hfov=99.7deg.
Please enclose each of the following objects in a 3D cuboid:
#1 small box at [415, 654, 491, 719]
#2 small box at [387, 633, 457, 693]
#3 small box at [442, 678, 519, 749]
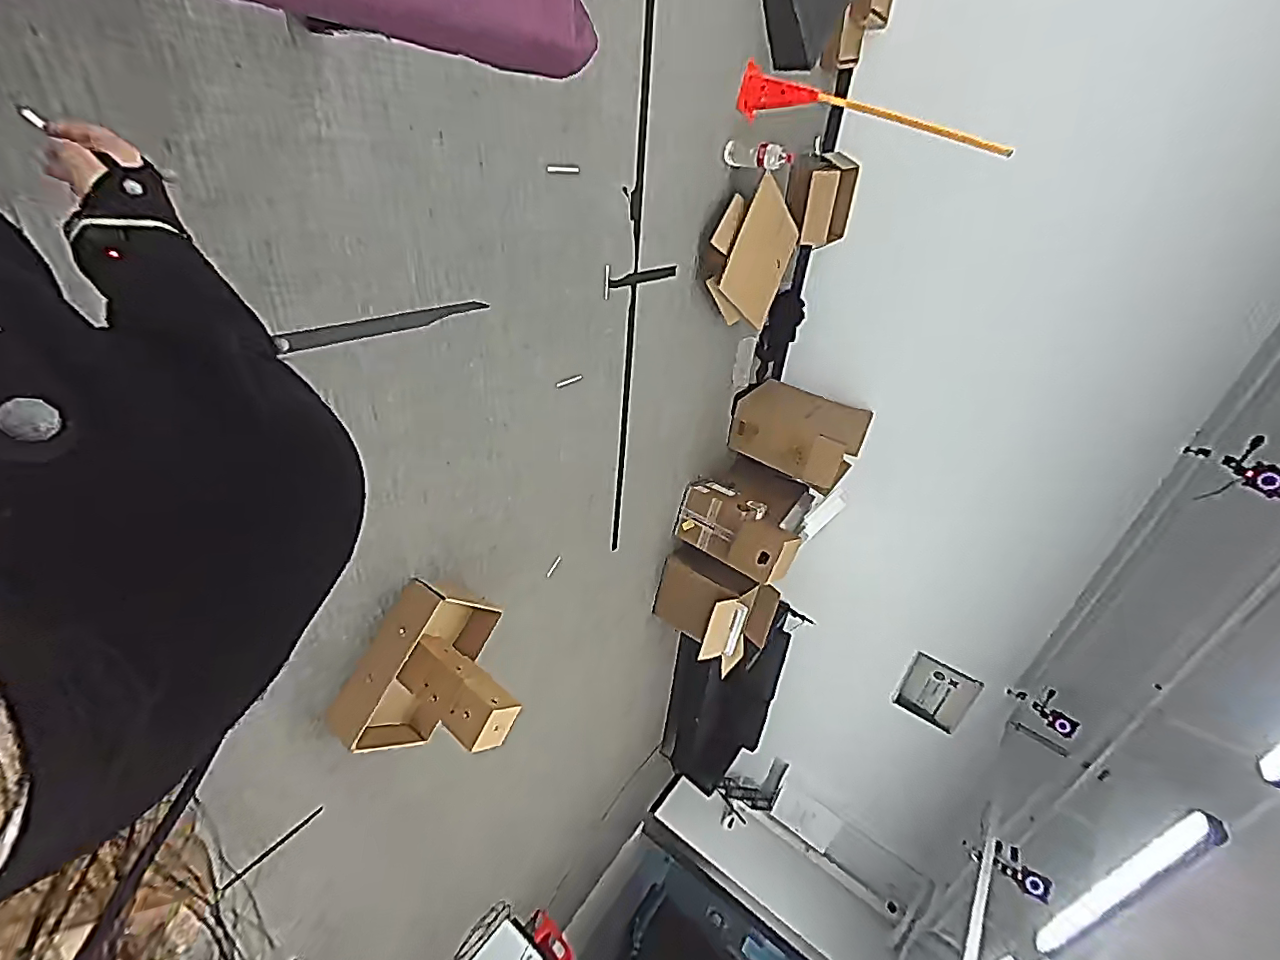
[{"bbox_3d":[-0.714,0.777,2.054,0.168,0.176,0.179,-61,153,-3],"label":"small box"},{"bbox_3d":[-0.847,0.718,2.127,0.168,0.176,0.179,-60,152,-7],"label":"small box"},{"bbox_3d":[-0.585,0.846,1.976,0.168,0.176,0.179,-61,152,-2],"label":"small box"}]
